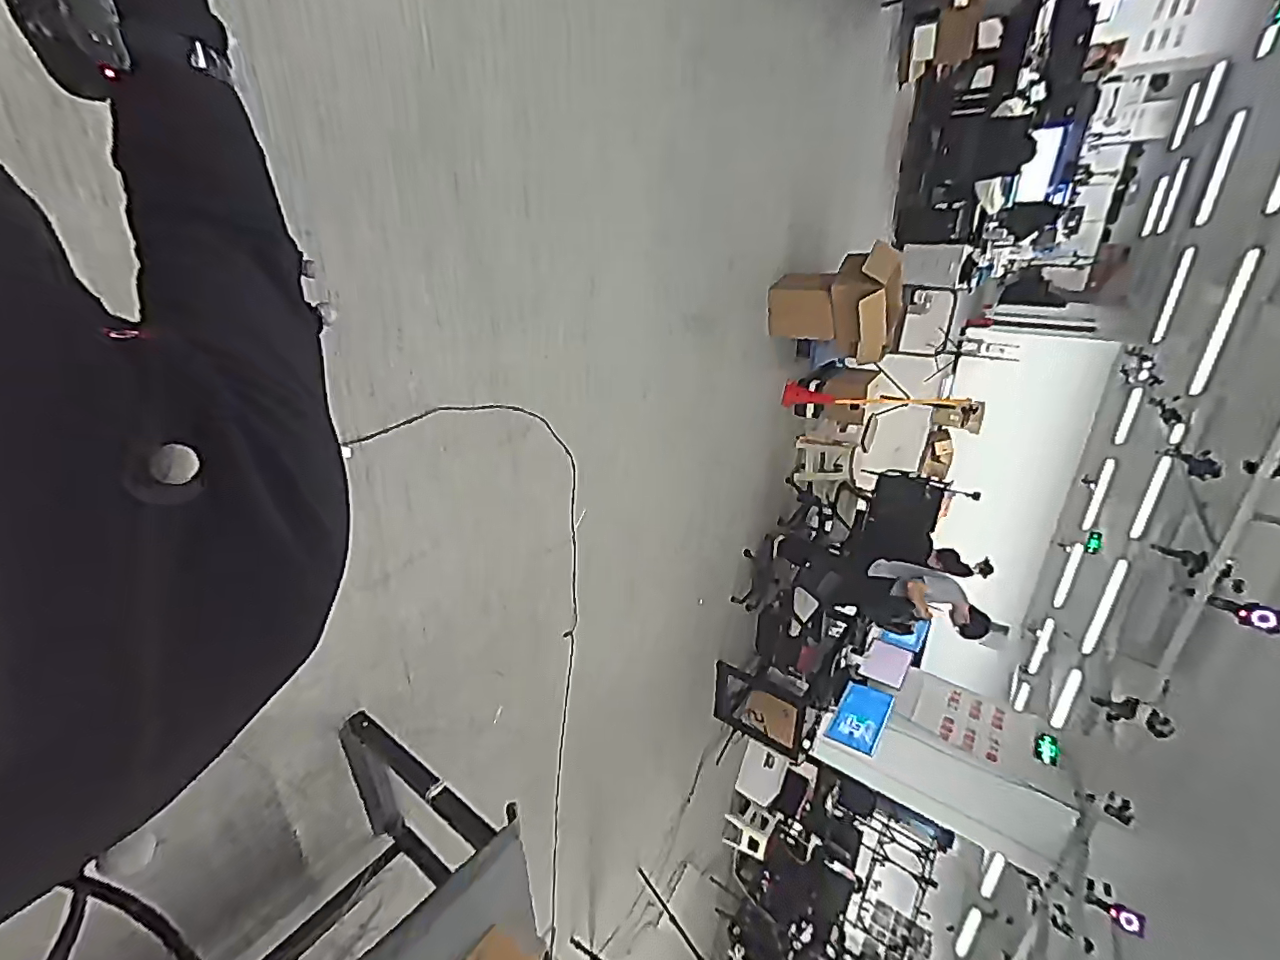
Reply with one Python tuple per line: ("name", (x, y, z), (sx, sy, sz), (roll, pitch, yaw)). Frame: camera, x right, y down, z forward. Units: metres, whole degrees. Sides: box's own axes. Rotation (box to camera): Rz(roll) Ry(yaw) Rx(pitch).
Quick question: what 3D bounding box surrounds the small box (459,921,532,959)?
("small box", (-0.357, 1.232, 1.298), (0.179, 0.176, 0.168), (-33, 130, -45))
